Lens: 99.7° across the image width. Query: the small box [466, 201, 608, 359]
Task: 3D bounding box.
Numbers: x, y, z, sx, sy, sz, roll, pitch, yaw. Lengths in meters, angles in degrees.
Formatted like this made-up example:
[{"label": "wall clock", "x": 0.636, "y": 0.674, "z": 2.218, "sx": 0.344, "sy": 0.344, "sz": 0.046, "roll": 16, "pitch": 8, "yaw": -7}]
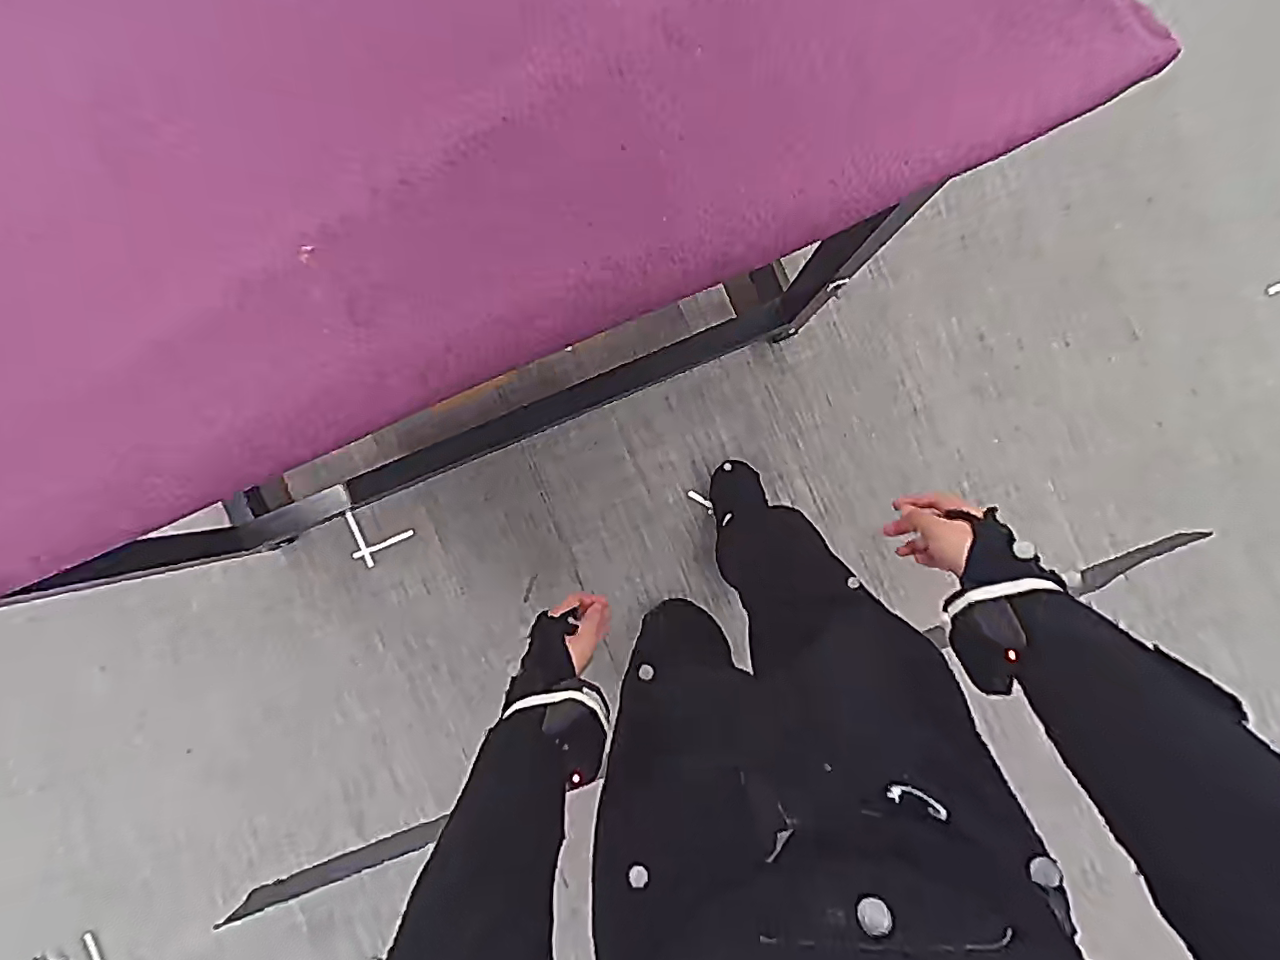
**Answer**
[{"label": "small box", "x": -0.165, "y": -0.327, "z": 0.921, "sx": 0.168, "sy": 0.176, "sz": 0.179, "roll": -24, "pitch": 94, "yaw": 2}]
